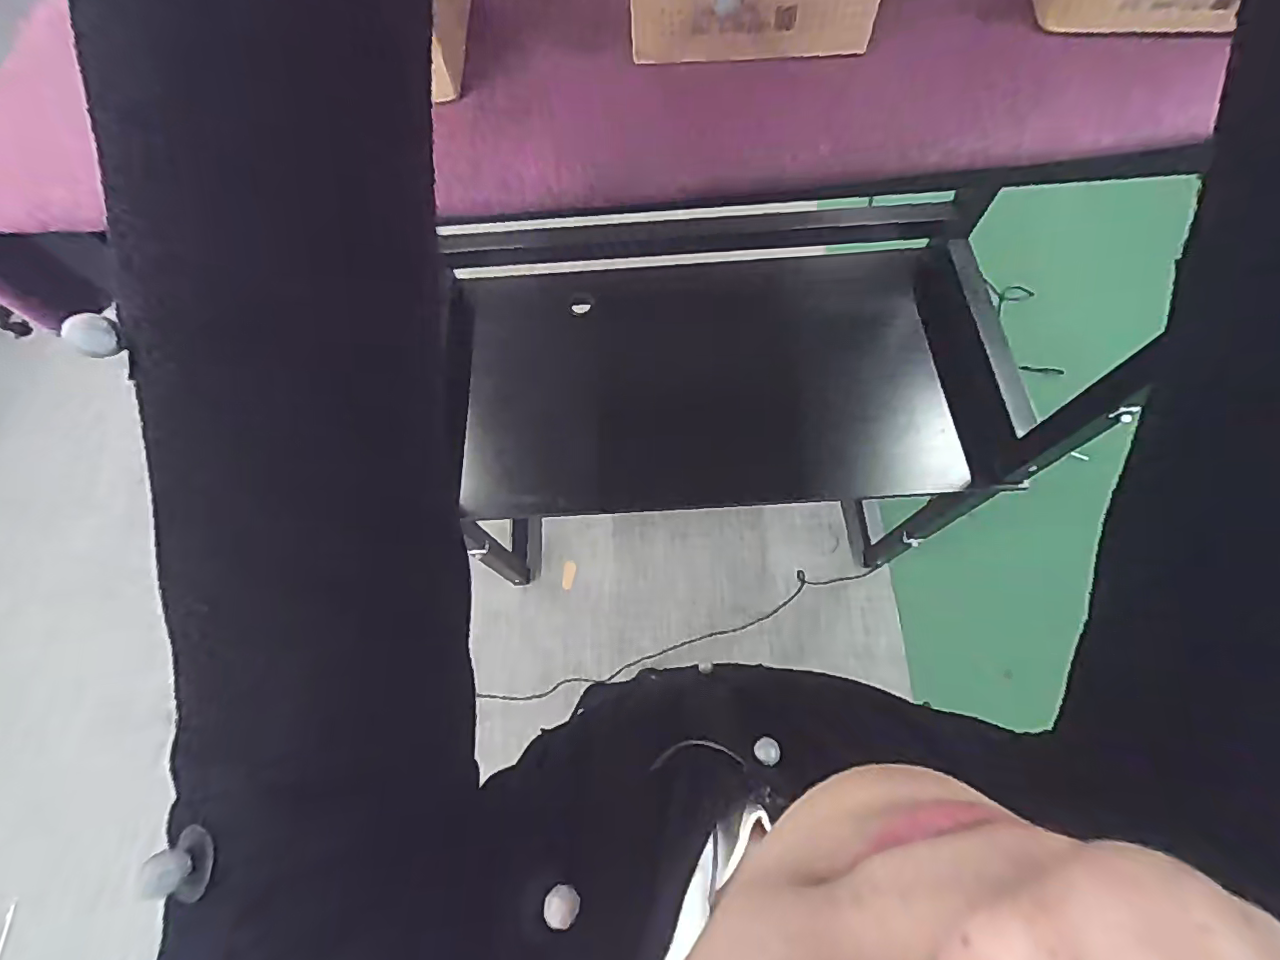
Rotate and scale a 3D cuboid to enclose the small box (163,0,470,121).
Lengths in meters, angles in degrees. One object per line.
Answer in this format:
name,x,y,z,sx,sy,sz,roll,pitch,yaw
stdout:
small box,-0.219,-0.372,0.349,0.168,0.176,0.179,-4,68,2
